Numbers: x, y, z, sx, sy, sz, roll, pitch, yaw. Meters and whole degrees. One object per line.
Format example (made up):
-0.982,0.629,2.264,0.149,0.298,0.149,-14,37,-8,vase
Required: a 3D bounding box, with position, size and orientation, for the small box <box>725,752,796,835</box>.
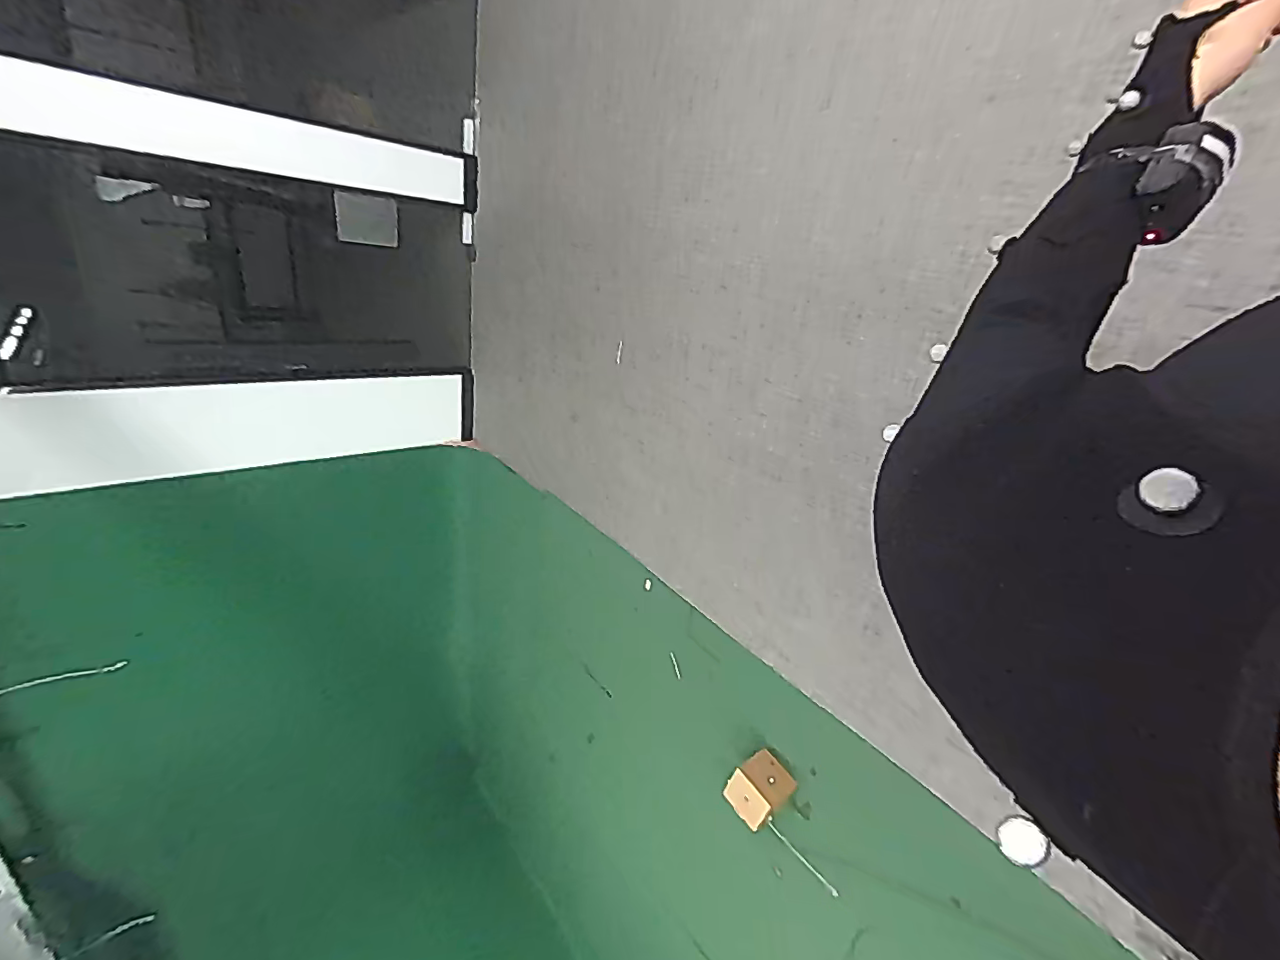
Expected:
0.449,1.150,1.997,0.168,0.176,0.179,40,127,37,small box
